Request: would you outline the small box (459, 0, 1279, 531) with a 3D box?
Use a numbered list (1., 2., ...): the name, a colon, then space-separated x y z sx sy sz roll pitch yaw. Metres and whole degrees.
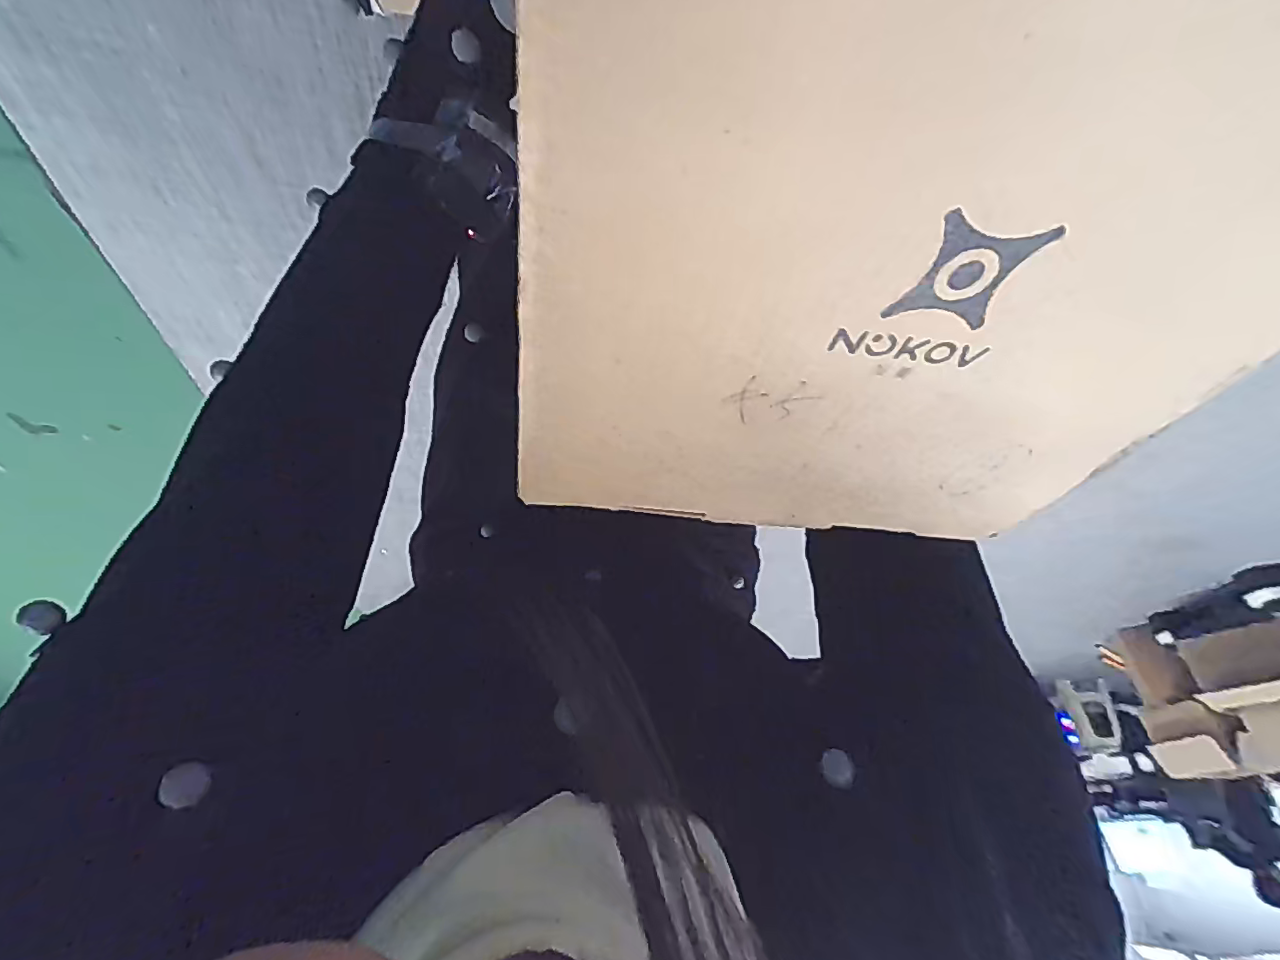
1. small box: 0.048 -0.103 0.157 0.168 0.176 0.179 5 146 -10
